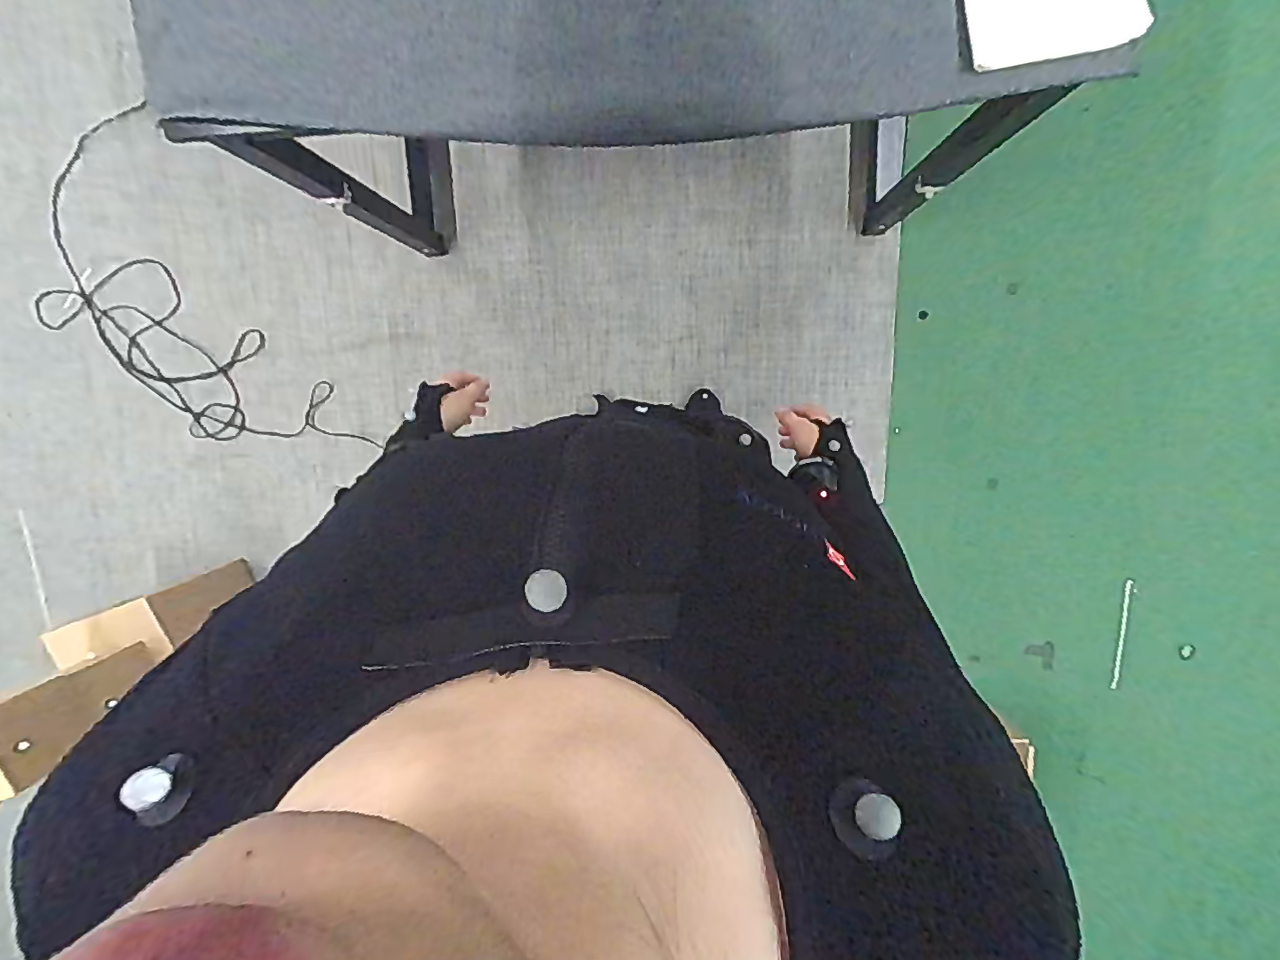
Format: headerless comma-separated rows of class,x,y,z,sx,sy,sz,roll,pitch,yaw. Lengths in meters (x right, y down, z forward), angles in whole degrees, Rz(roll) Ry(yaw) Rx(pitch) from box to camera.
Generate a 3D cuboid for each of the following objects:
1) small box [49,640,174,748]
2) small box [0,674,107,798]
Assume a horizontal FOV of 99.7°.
small box,-1.257,0.506,1.263,0.168,0.176,0.179,-19,98,5
small box,-1.269,0.521,1.101,0.168,0.176,0.179,-19,99,5
